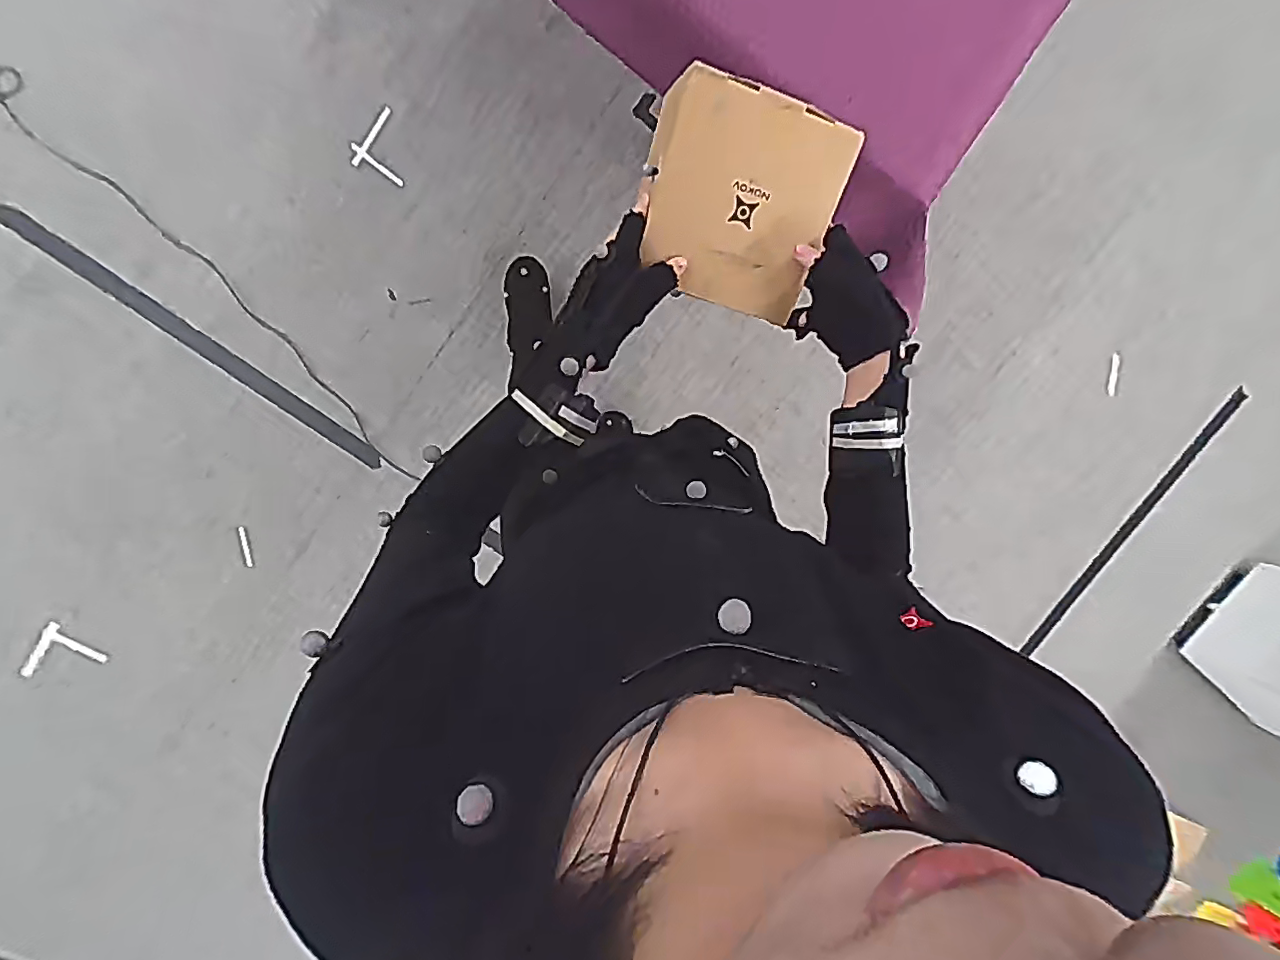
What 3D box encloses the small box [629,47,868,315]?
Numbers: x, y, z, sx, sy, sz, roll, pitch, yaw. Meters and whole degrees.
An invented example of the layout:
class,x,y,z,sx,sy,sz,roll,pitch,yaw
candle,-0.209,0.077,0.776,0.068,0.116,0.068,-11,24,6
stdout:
class,x,y,z,sx,sy,sz,roll,pitch,yaw
small box,0.091,-0.294,0.558,0.168,0.176,0.179,14,115,-12
